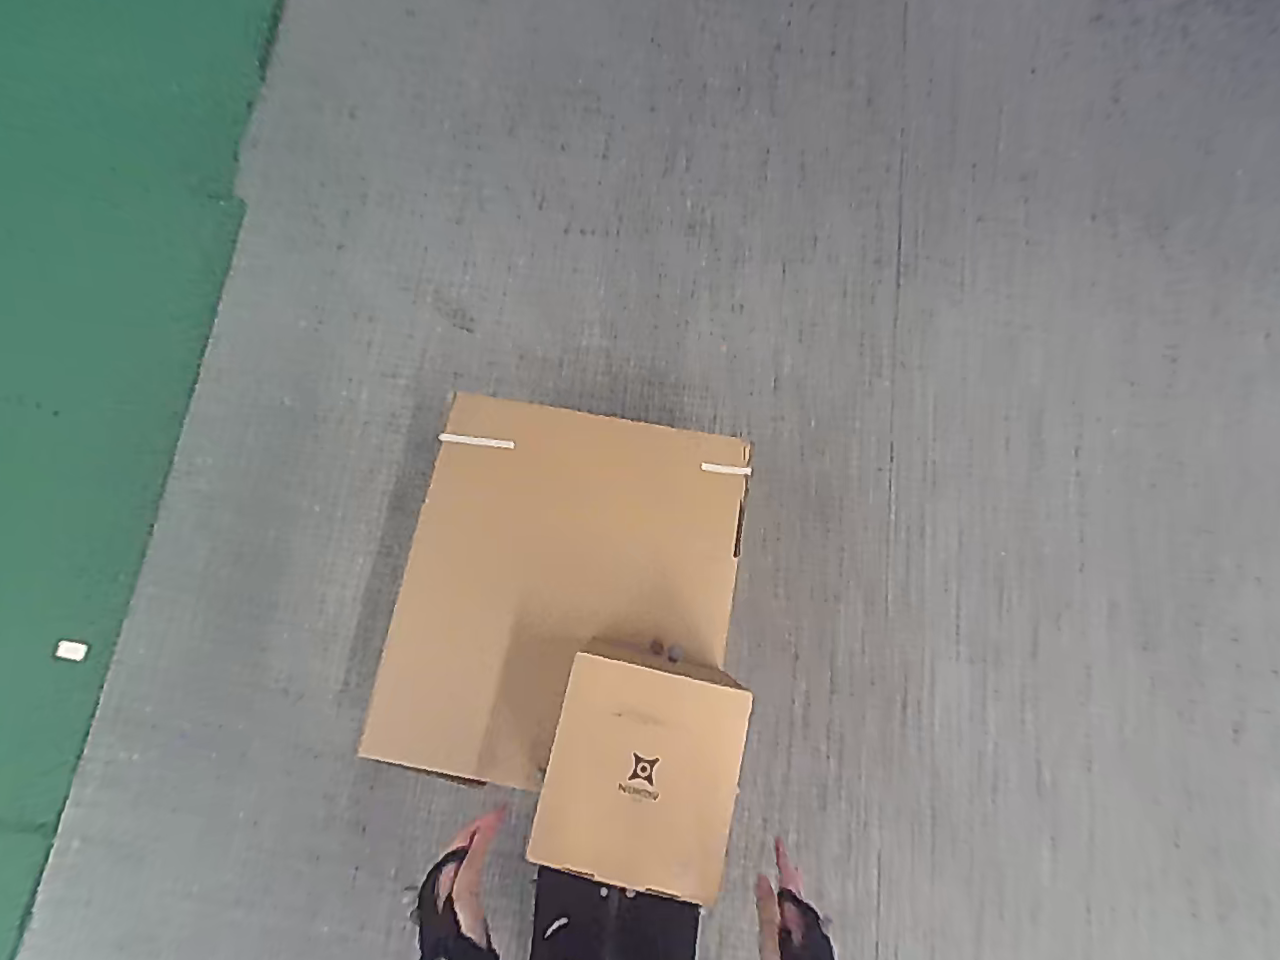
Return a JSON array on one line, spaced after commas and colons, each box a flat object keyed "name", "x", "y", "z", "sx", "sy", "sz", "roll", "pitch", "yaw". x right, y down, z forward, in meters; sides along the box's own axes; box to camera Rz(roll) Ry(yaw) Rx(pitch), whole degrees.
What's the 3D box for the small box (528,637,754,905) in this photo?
[{"name": "small box", "x": 0.003, "y": 0.268, "z": 0.545, "sx": 0.168, "sy": 0.176, "sz": 0.179, "roll": 13, "pitch": 78, "yaw": 2}]
